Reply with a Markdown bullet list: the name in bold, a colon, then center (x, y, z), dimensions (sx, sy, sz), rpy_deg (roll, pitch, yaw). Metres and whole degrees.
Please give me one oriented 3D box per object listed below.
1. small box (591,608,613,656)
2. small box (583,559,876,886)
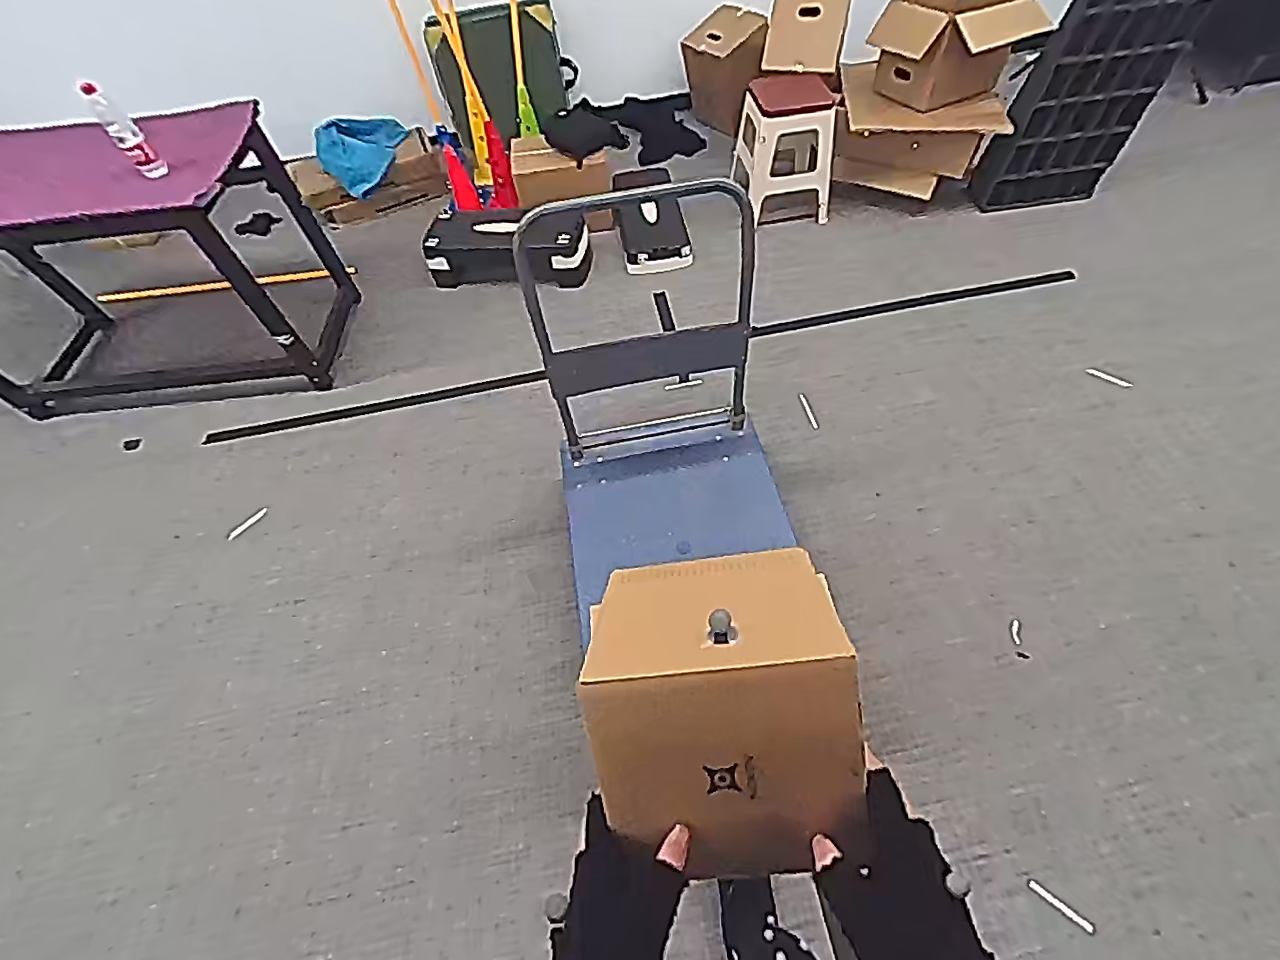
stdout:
- **small box**: center (-0.006, 0.378, 1.166), dimensions (0.179, 0.176, 0.168), rpy_deg (-8, 56, 1)
- **small box**: center (0.067, 0.176, 0.431), dimensions (0.179, 0.168, 0.176), rpy_deg (-9, 14, 6)
